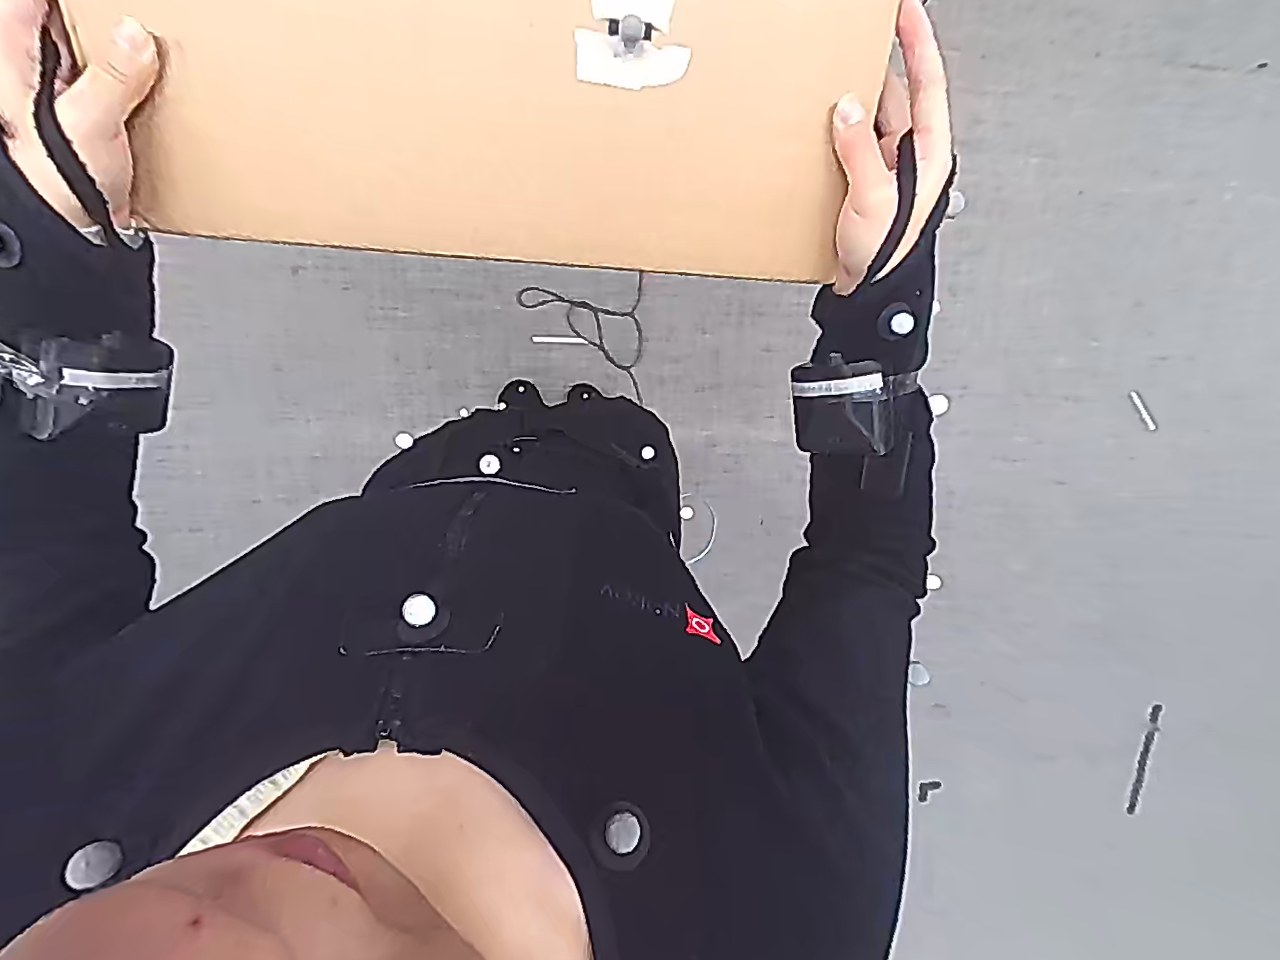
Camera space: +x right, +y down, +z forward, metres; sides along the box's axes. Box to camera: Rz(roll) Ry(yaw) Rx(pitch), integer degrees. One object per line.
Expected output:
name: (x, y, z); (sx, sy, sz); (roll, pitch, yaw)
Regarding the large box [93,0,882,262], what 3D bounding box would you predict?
large box: (-0.079, -0.345, 0.393); (0.408, 0.320, 0.320); (2, 117, -6)
